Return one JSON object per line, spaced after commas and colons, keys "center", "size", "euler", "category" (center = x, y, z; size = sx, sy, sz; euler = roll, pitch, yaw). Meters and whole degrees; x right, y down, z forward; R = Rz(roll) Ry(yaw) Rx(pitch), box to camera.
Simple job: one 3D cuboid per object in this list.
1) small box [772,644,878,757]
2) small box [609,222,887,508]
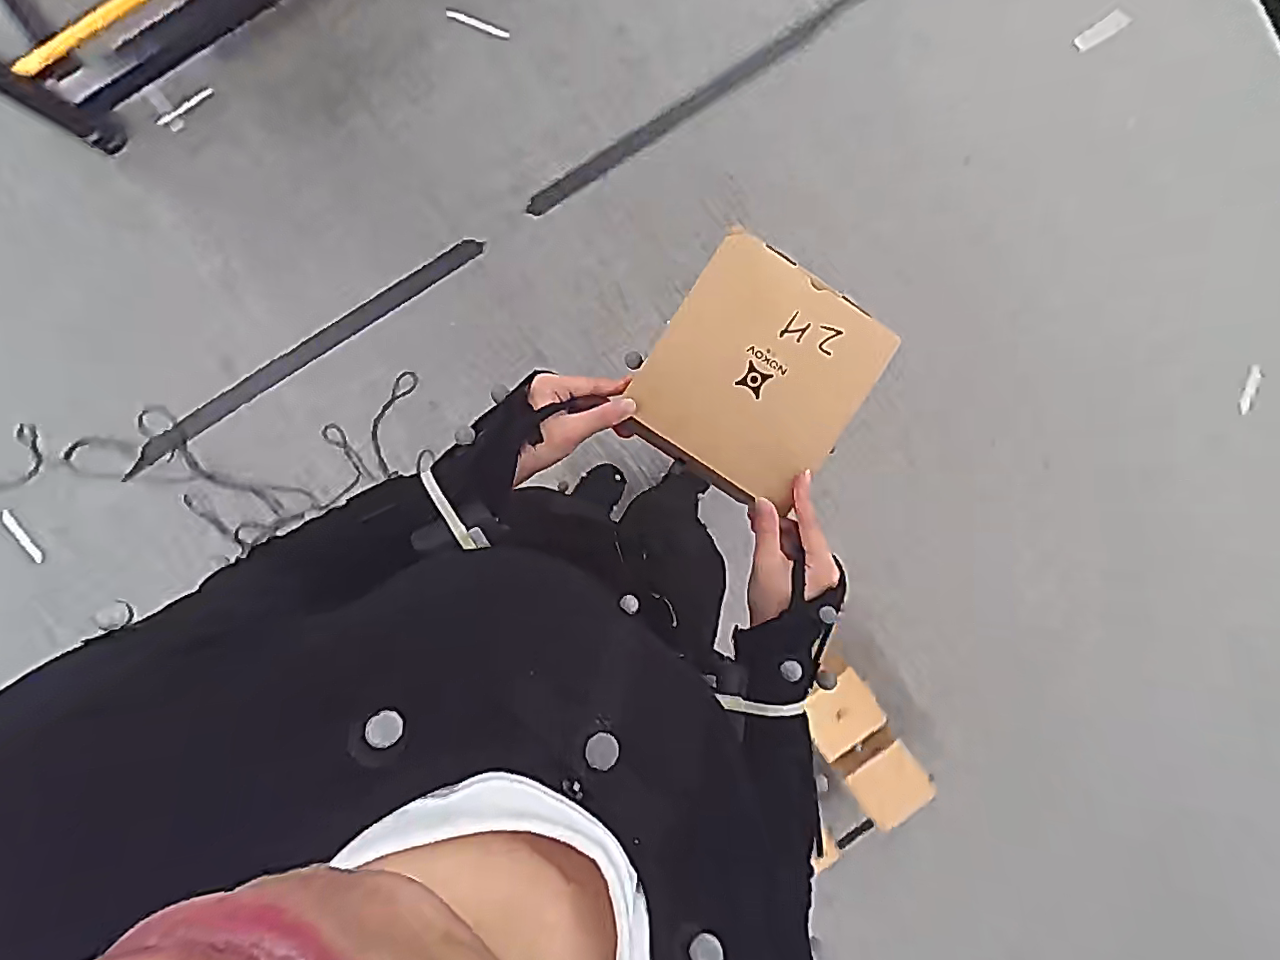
{"center": [0.458, 0.553, 1.379], "size": [0.179, 0.176, 0.168], "euler": [-35, 96, -1], "category": "small box"}
{"center": [0.086, -0.094, 0.514], "size": [0.168, 0.176, 0.179], "euler": [32, 90, -4], "category": "small box"}
